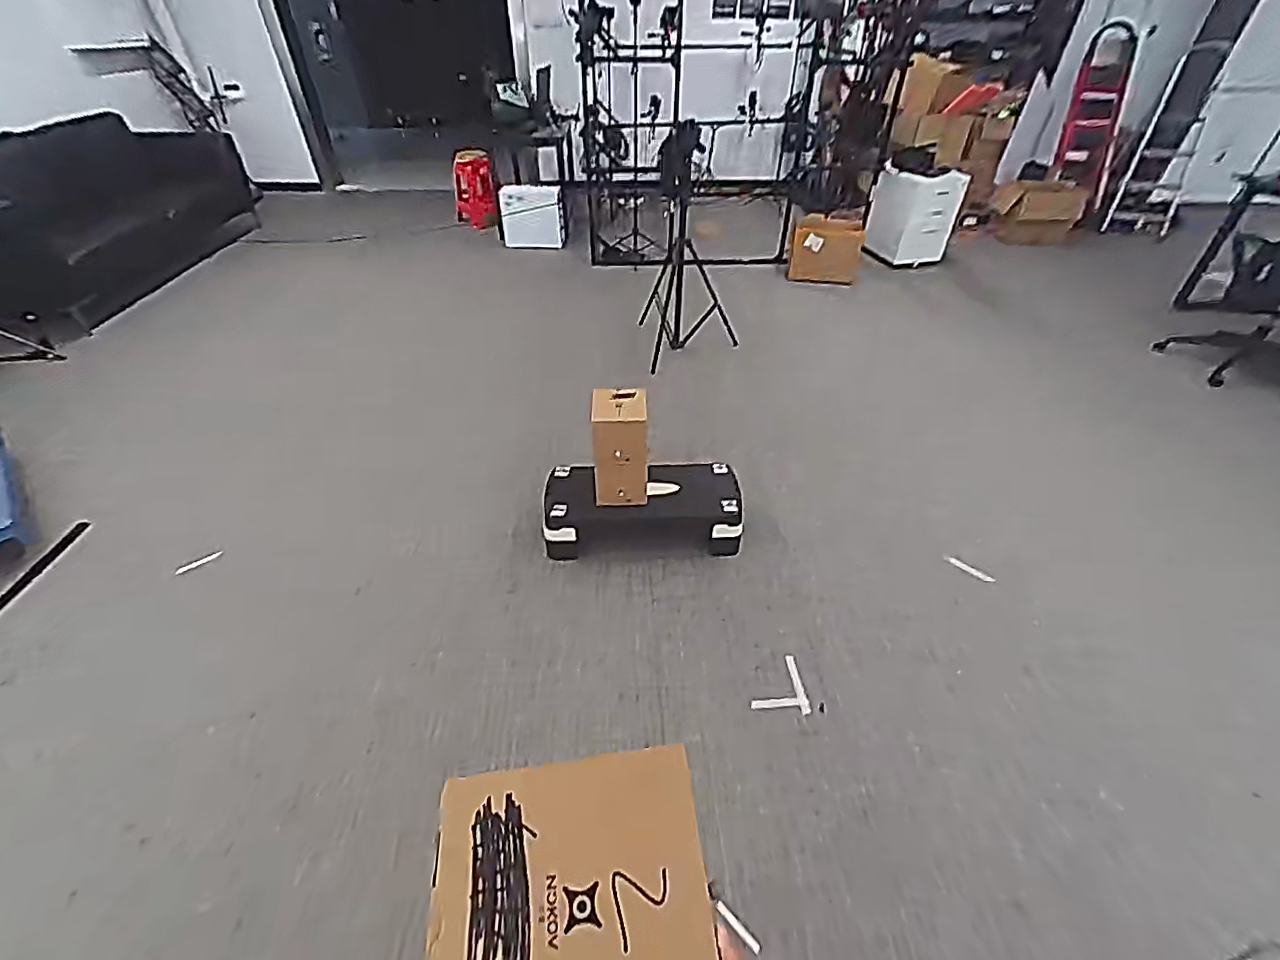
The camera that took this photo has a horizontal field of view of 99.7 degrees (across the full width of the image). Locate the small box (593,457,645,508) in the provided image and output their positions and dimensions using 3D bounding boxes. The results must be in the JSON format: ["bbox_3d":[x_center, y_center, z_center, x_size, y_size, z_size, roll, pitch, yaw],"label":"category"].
[{"bbox_3d":[-0.068,-0.025,1.797,0.168,0.176,0.179,-1,40,-1],"label":"small box"}]

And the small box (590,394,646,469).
[{"bbox_3d":[-0.069,-0.153,1.694,0.168,0.176,0.179,-1,40,-1],"label":"small box"}]

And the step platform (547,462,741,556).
[{"bbox_3d":[0.013,0.095,1.925,0.684,0.204,0.286,-2,40,-2],"label":"step platform"}]
